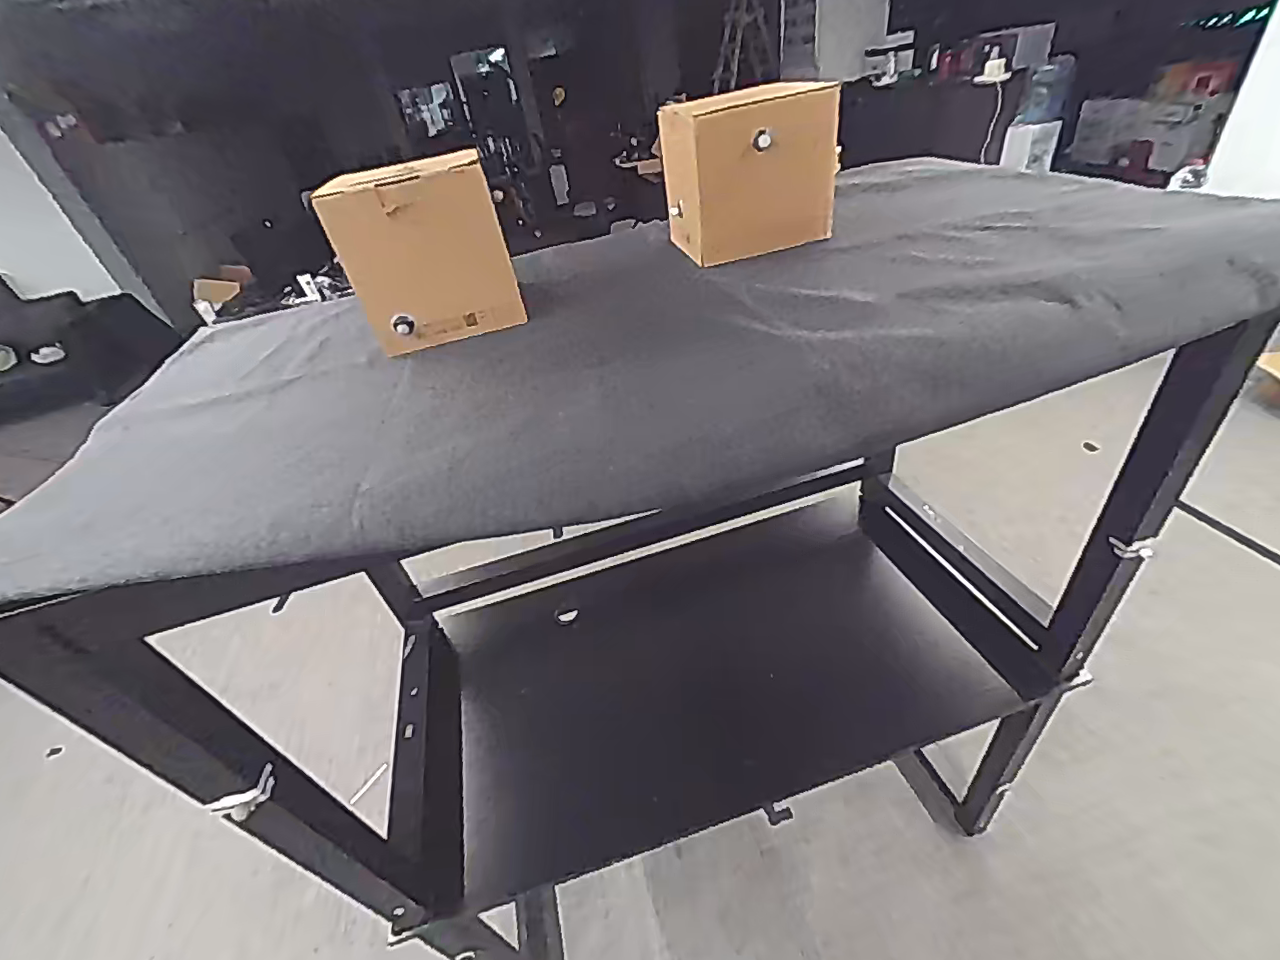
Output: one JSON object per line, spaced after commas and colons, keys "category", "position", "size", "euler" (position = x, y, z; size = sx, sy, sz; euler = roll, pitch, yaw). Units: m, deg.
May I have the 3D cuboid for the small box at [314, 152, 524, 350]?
{"category": "small box", "position": [-0.243, -0.268, 0.638], "size": [0.168, 0.176, 0.179], "euler": [-17, 37, -6]}

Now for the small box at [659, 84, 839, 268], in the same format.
{"category": "small box", "position": [0.135, -0.397, 0.705], "size": [0.179, 0.176, 0.168], "euler": [-15, 37, -3]}
